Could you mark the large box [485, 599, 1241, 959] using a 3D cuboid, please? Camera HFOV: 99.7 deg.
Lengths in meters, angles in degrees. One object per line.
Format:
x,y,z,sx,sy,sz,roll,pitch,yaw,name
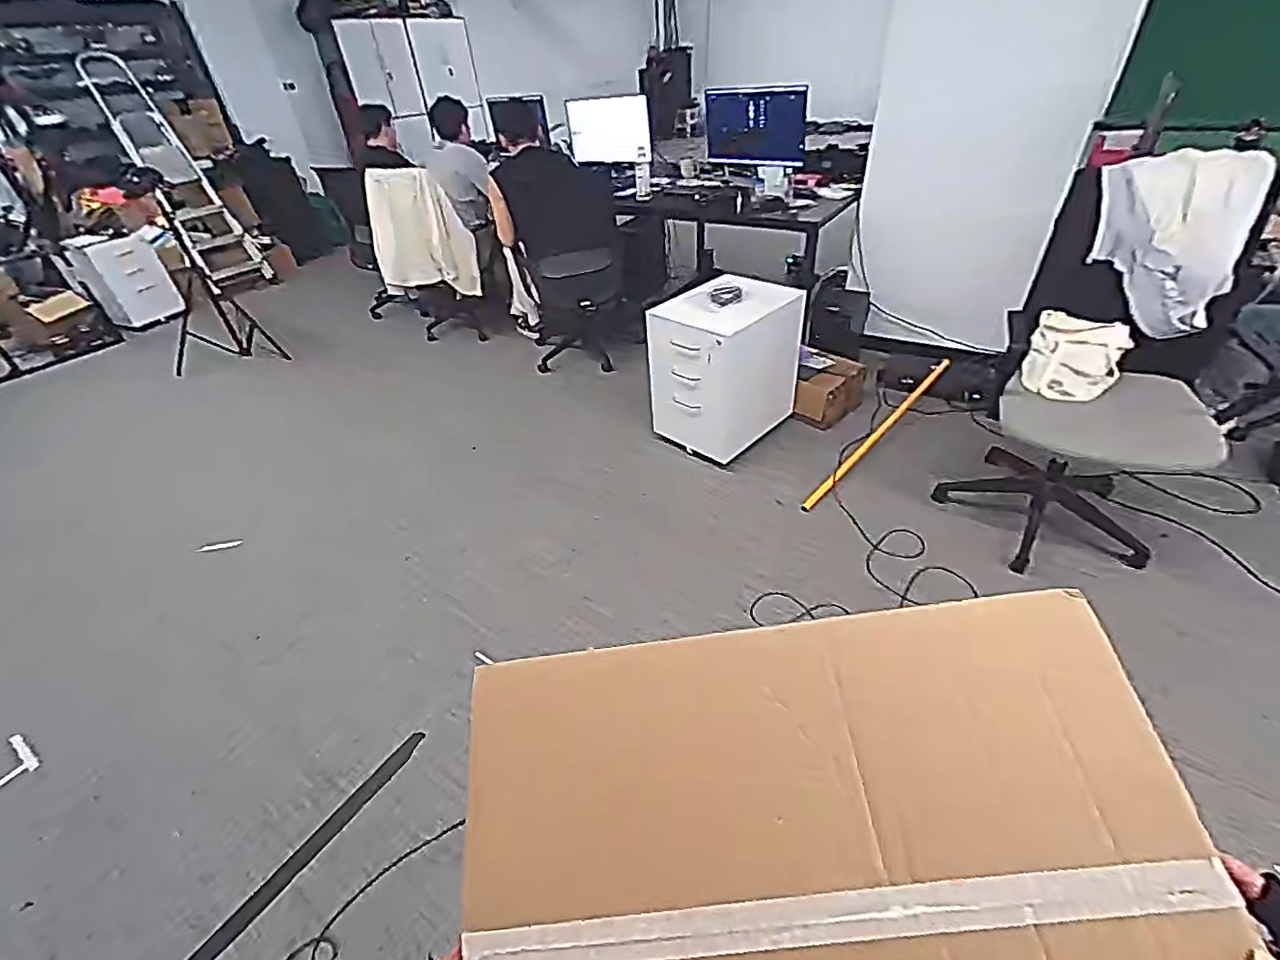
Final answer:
0.122,0.314,0.431,0.408,0.320,0.320,-9,62,4,large box
